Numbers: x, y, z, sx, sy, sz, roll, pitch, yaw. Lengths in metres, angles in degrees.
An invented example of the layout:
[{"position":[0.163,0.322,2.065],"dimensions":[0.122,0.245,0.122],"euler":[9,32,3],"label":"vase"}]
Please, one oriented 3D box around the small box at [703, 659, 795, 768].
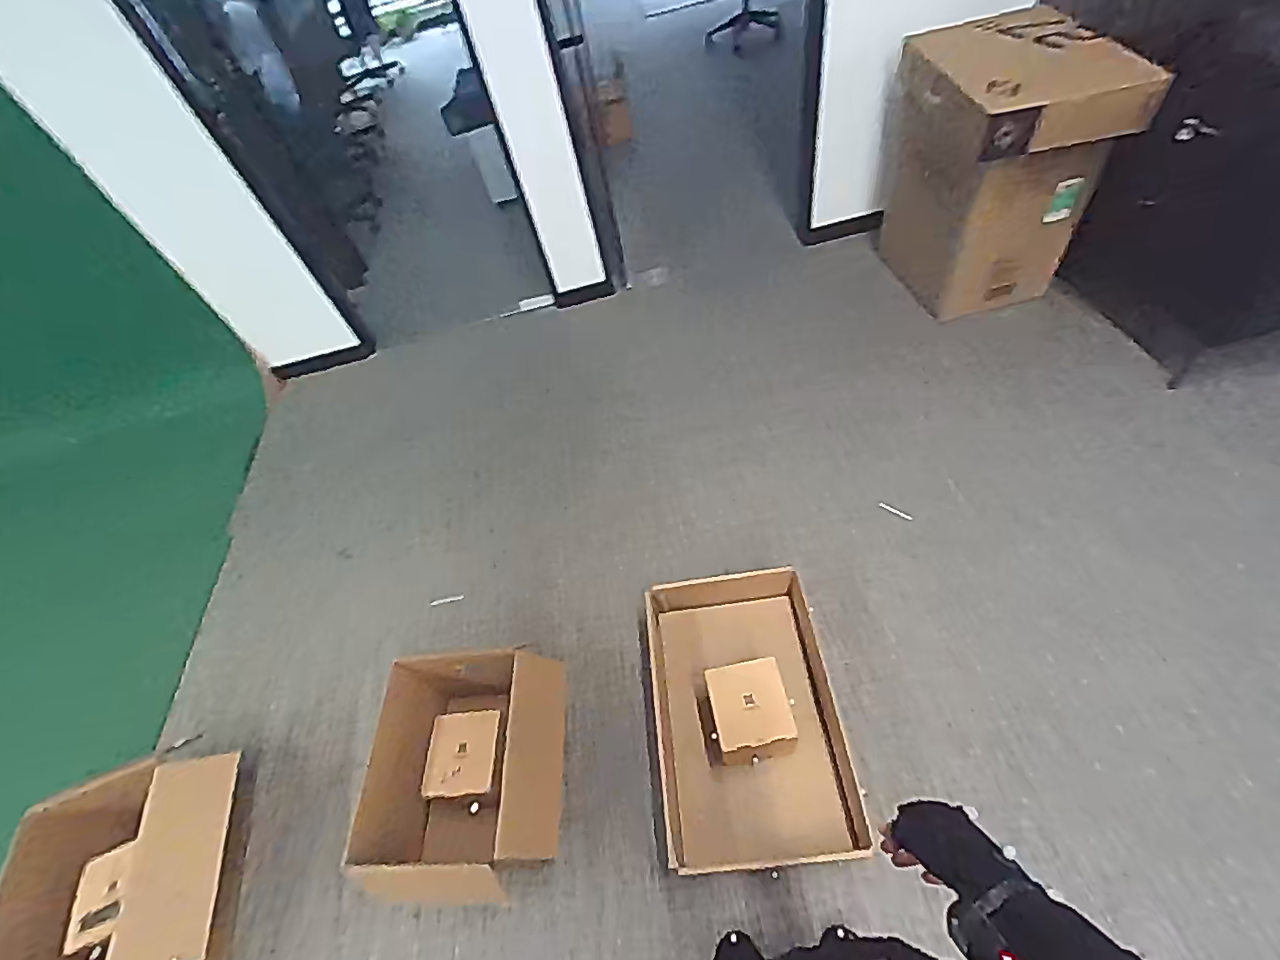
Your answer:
[{"position":[0.245,0.538,1.242],"dimensions":[0.168,0.176,0.179],"euler":[-13,51,2],"label":"small box"}]
